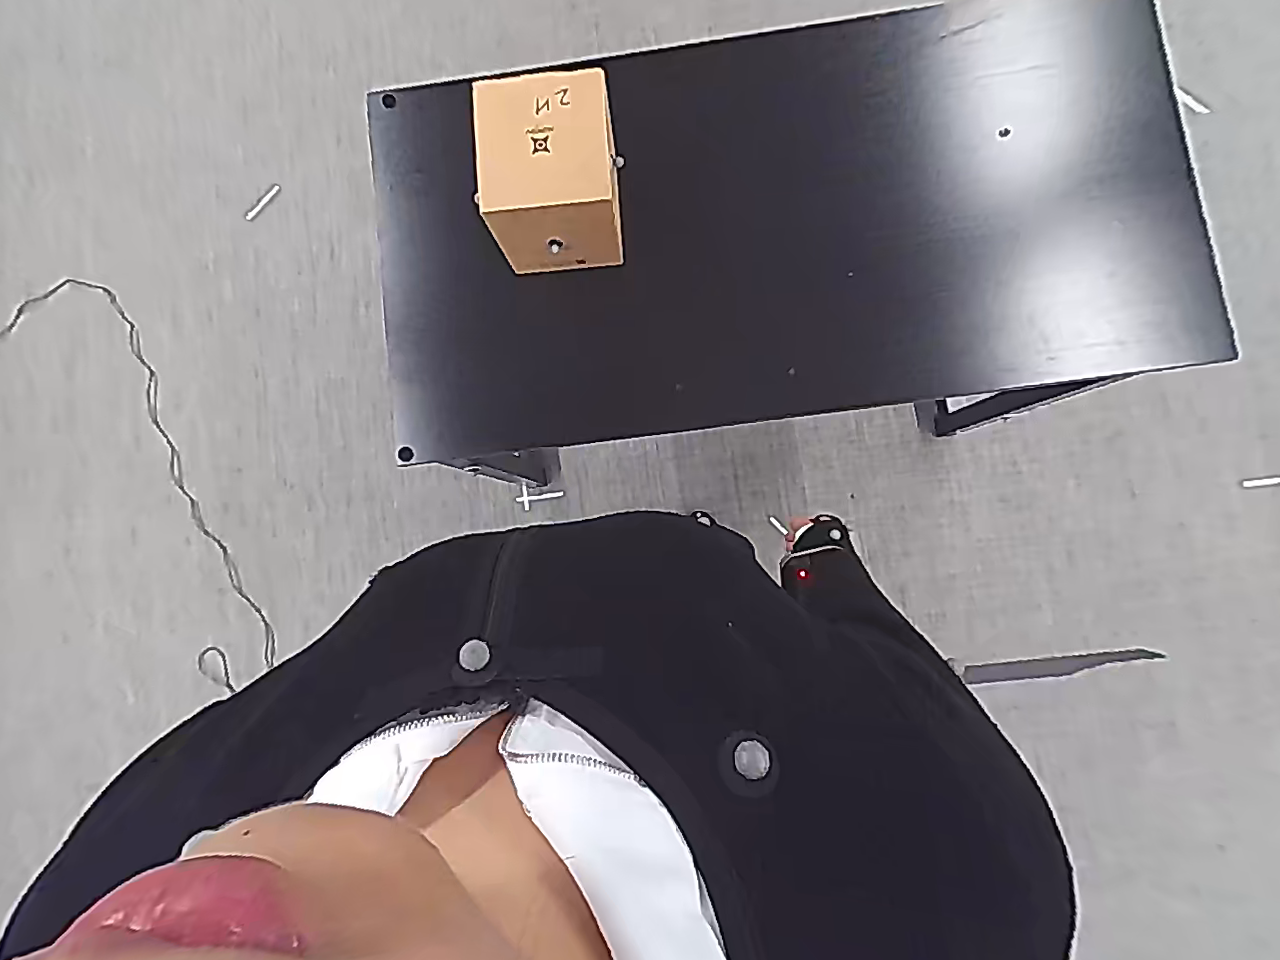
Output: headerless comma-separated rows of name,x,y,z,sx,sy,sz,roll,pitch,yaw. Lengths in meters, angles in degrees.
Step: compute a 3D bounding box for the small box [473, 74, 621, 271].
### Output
small box,-0.119,-0.408,0.749,0.168,0.176,0.179,-5,84,3
